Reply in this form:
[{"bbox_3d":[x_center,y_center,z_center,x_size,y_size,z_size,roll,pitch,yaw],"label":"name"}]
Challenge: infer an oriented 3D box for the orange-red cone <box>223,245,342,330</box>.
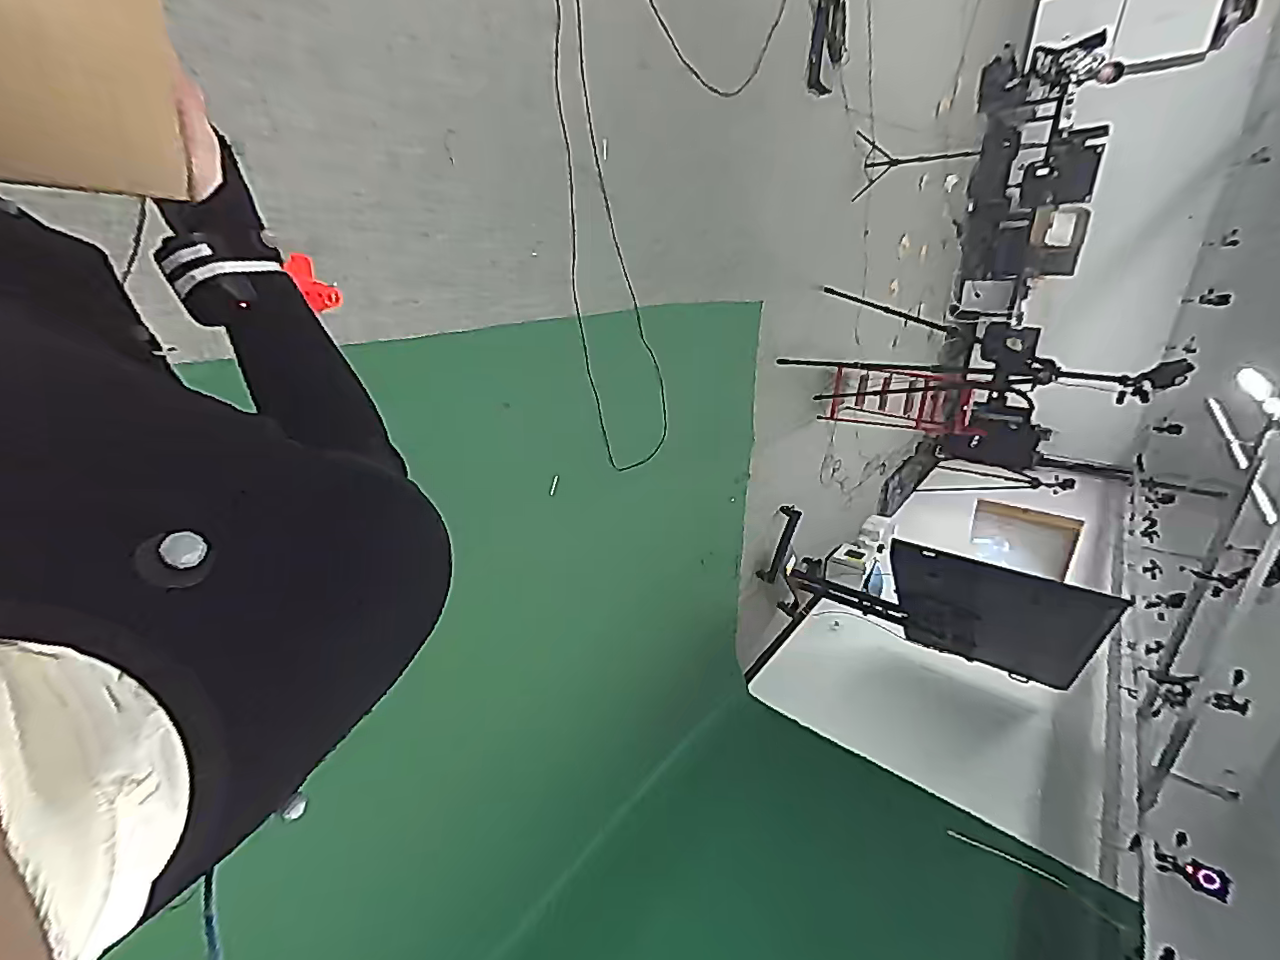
[{"bbox_3d":[-0.807,-0.445,1.284,0.199,0.360,0.198,-17,118,-50],"label":"orange-red cone"}]
